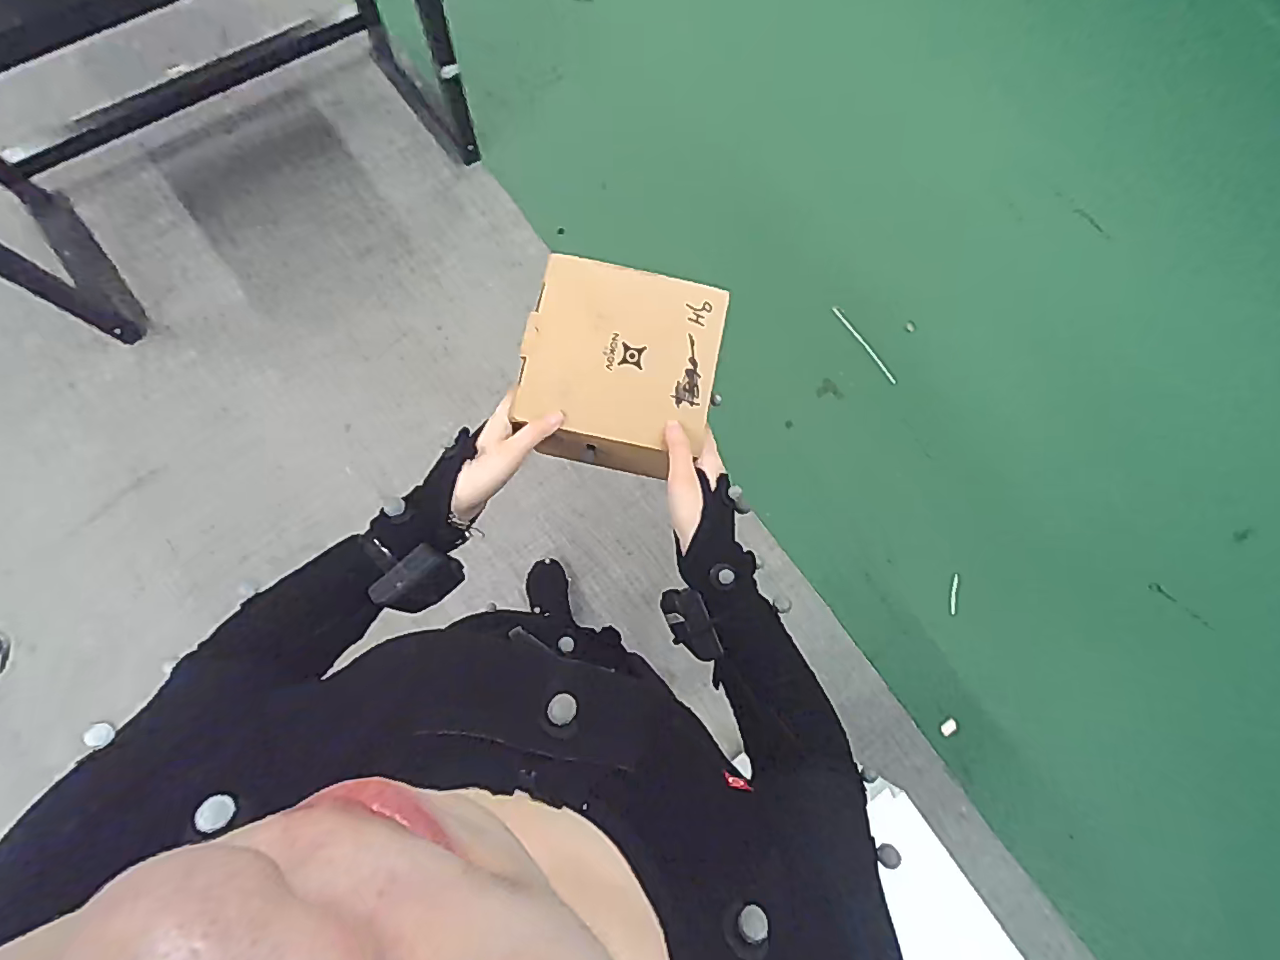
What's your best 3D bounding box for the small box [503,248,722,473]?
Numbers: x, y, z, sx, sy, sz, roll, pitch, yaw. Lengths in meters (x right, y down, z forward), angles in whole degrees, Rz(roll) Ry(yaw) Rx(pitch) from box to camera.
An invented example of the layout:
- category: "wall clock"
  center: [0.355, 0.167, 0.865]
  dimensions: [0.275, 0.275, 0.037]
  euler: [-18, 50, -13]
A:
- category: "small box"
  center: [-0.026, -0.111, 0.574]
  dimensions: [0.179, 0.176, 0.168]
  euler: [12, 81, -1]
